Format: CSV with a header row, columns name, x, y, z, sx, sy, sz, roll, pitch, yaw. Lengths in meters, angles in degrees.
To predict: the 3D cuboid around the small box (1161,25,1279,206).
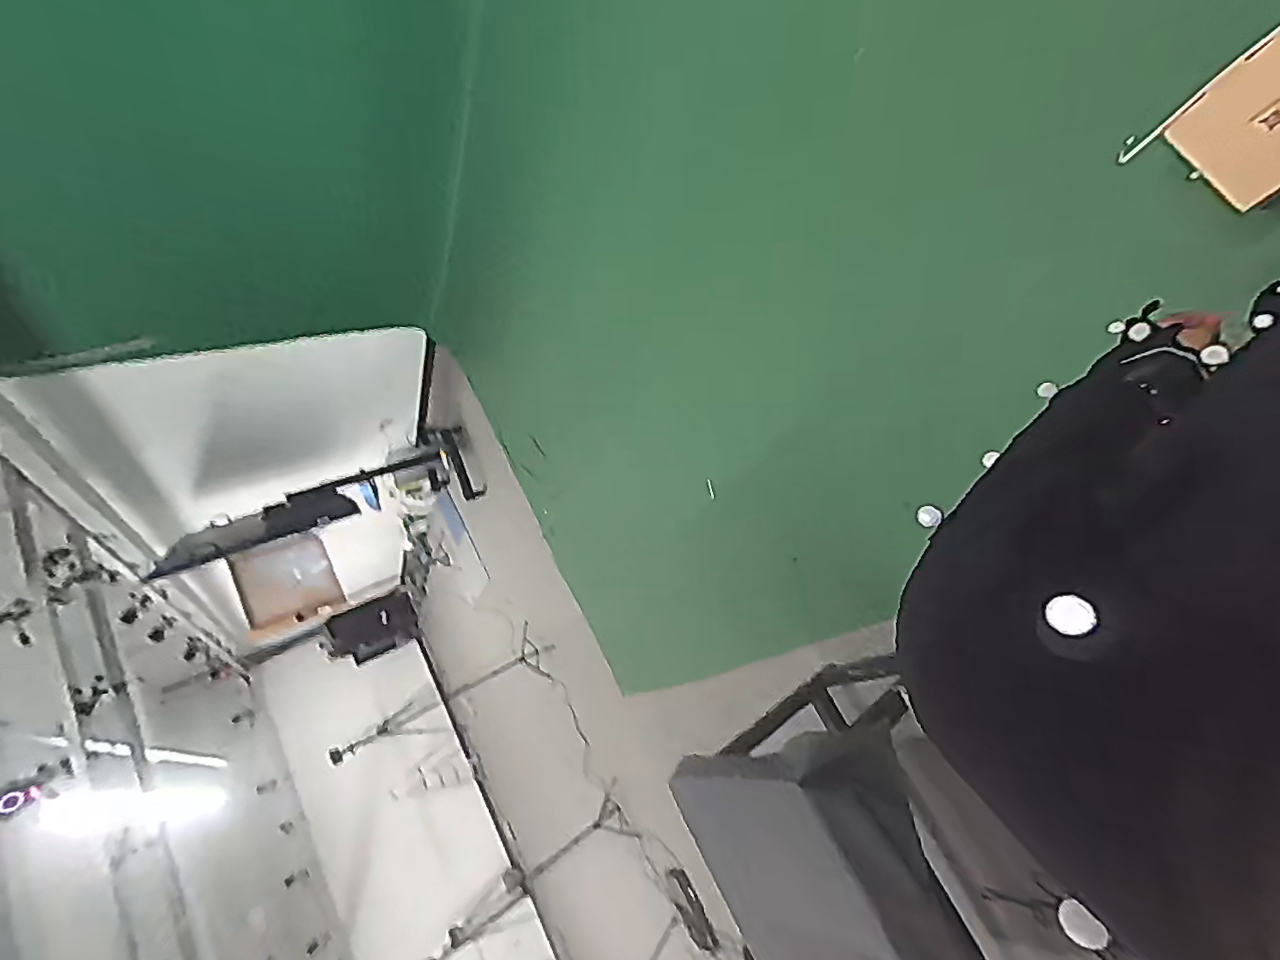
name,x,y,z,sx,sy,sz,roll,pitch,yaw
small box,0.932,-0.529,0.789,0.179,0.176,0.168,59,146,14
